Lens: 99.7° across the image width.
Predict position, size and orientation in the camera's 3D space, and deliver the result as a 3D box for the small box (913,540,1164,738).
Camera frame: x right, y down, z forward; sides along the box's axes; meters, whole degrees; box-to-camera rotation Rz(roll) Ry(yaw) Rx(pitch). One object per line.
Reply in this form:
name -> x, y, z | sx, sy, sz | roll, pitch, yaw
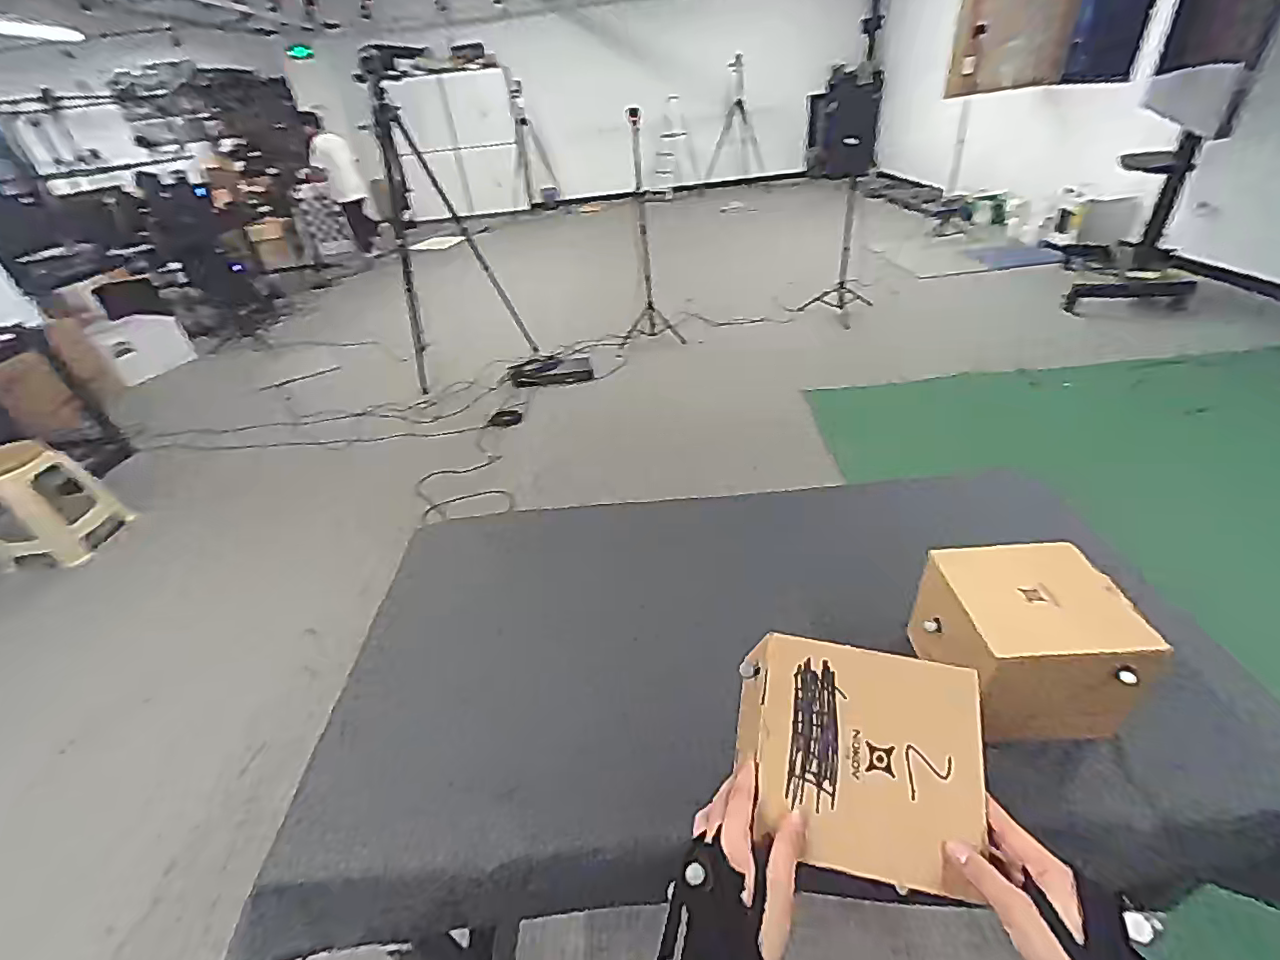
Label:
small box -> 0.457, 0.195, 0.661 | 0.179, 0.176, 0.168 | -4, 35, 3
